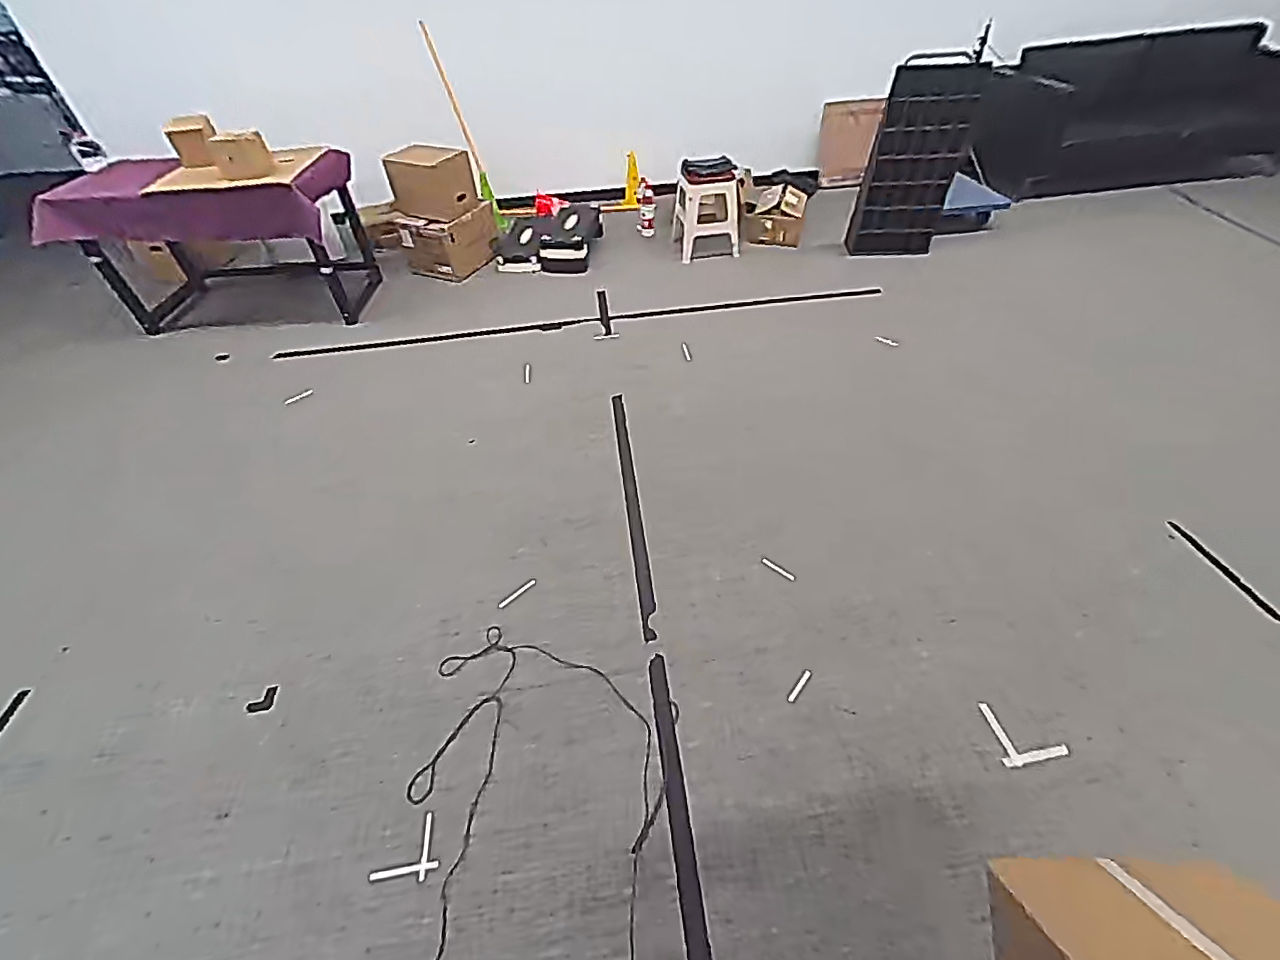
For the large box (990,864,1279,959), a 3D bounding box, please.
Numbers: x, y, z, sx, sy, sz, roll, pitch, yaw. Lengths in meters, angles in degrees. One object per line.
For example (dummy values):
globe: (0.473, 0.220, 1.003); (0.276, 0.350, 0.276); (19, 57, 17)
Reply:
large box: (0.641, 0.685, 0.560); (0.320, 0.408, 0.320); (-4, 85, 5)
